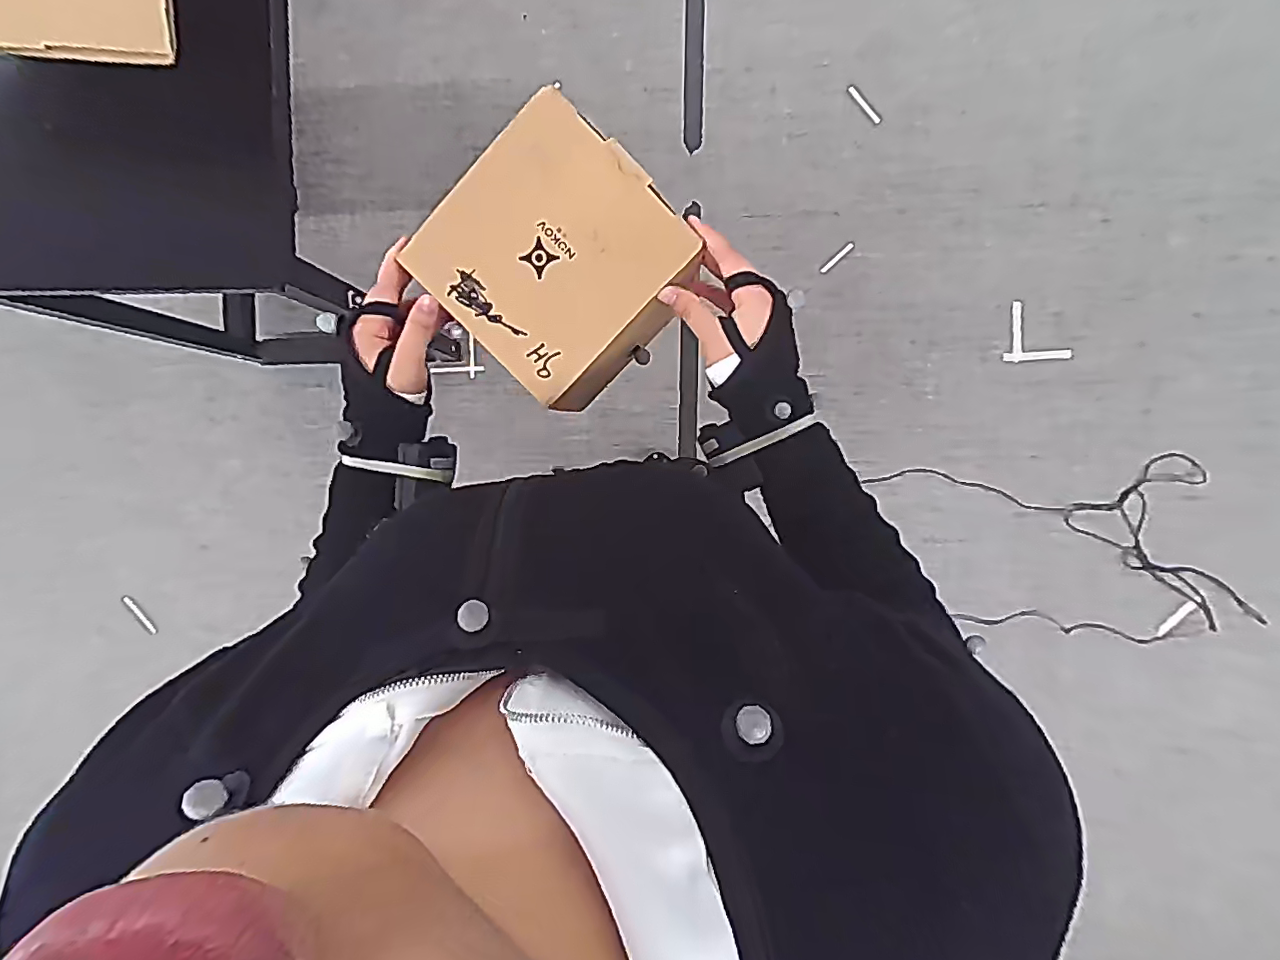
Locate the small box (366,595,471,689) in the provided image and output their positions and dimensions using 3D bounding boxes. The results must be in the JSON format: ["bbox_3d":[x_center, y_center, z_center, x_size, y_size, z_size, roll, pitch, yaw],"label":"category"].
[{"bbox_3d":[-0.516,0.379,1.292,0.179,0.176,0.168,-7,91,5],"label":"small box"}]
